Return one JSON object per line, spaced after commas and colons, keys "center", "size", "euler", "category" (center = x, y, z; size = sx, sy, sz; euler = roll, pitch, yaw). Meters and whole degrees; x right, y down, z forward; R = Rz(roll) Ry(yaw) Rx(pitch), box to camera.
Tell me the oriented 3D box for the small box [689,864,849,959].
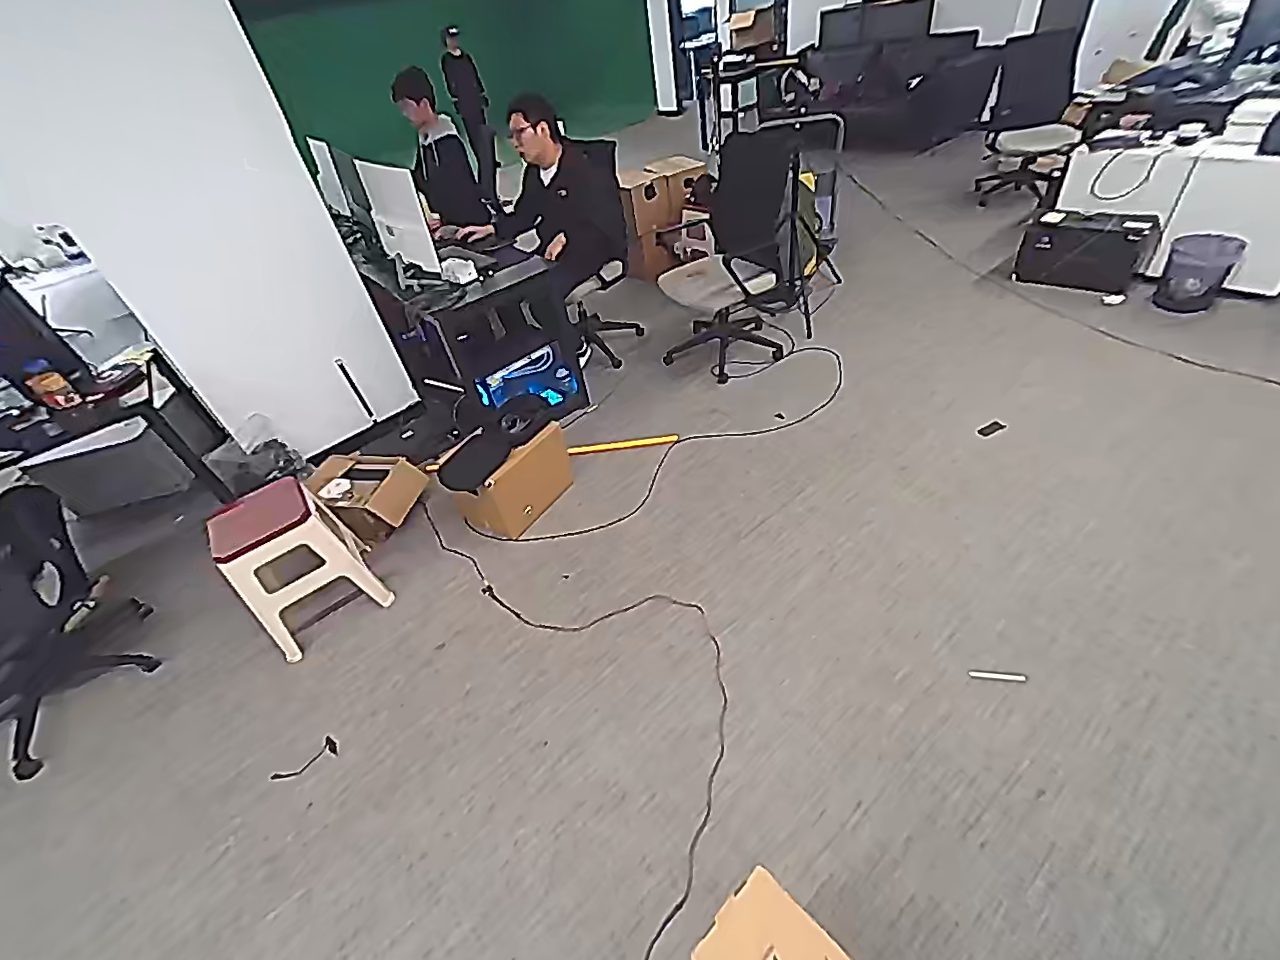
{"center": [0.196, 0.744, 0.821], "size": [0.168, 0.176, 0.179], "euler": [-36, 47, -26], "category": "small box"}
